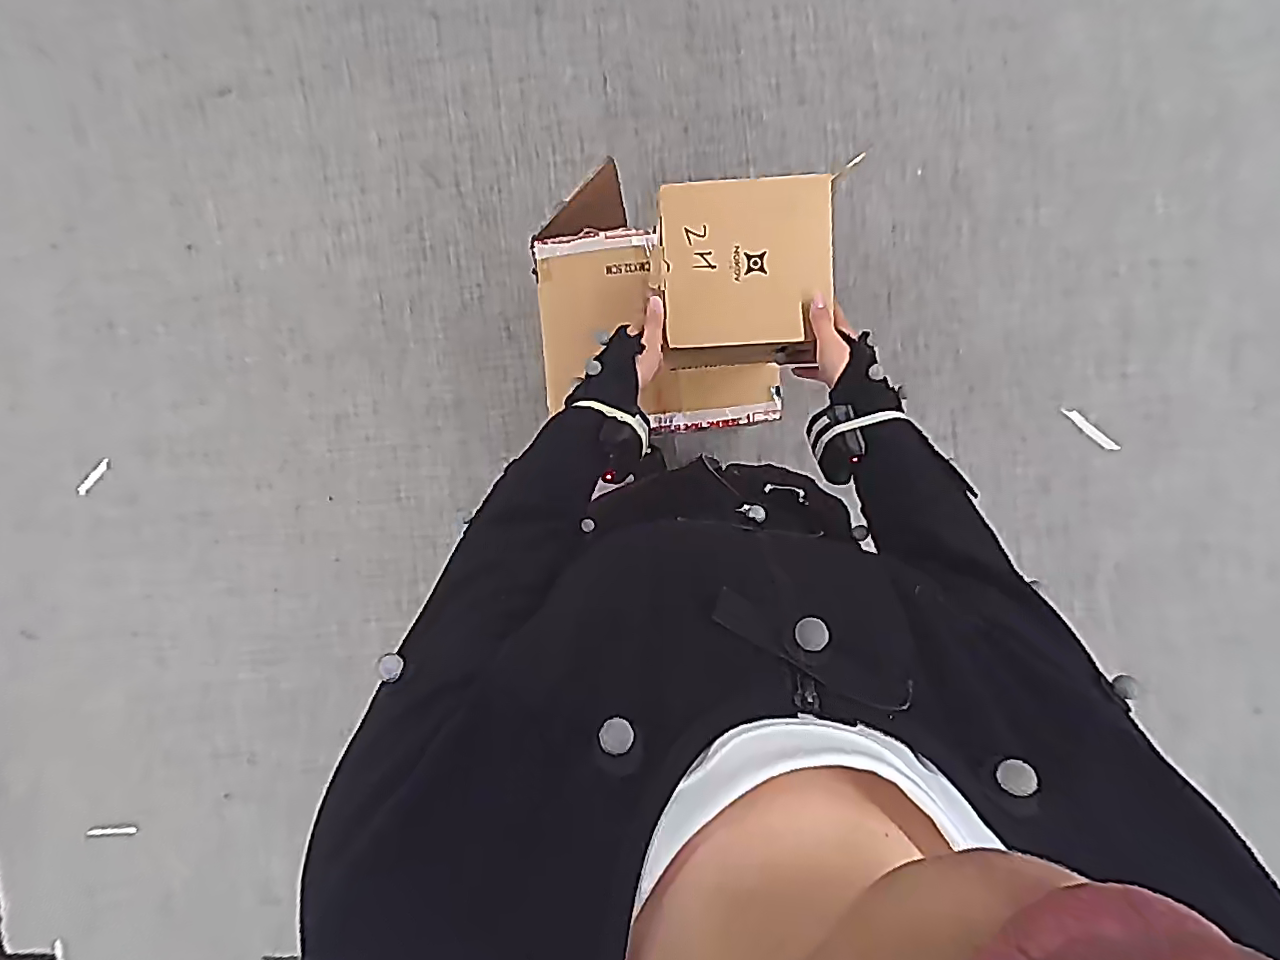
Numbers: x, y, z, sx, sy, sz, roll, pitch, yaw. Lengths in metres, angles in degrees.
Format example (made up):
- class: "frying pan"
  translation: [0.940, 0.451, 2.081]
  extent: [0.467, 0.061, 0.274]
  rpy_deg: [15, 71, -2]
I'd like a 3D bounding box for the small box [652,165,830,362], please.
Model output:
- class: "small box"
  translation: [0.105, -0.233, 0.624]
  extent: [0.179, 0.176, 0.168]
  rpy_deg: [-4, 95, 3]
